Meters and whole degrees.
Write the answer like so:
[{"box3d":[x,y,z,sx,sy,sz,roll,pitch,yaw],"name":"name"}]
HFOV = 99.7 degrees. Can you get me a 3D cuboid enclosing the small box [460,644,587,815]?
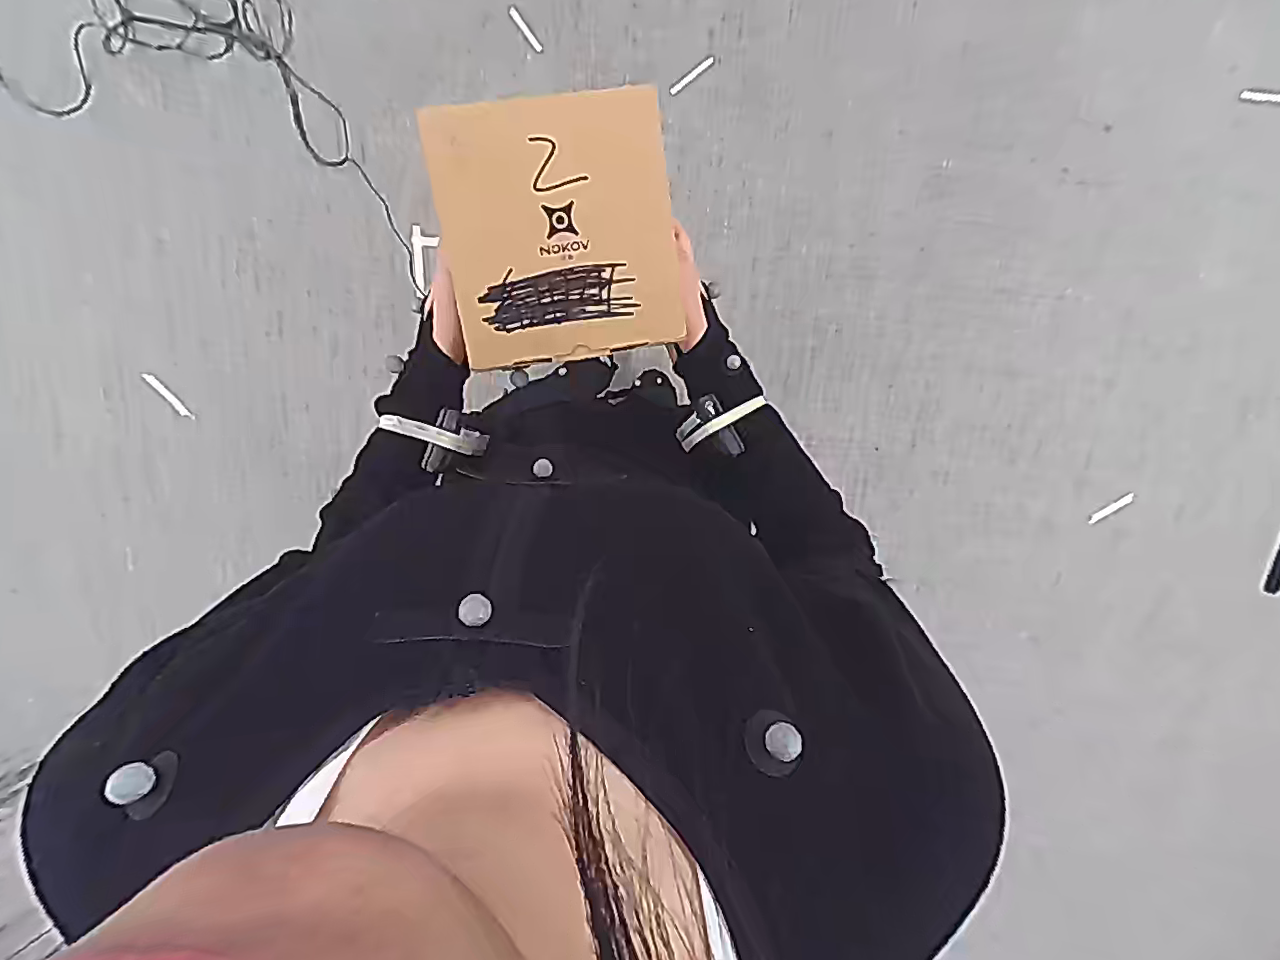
[{"box3d":[-0.171,0.378,0.839,0.168,0.176,0.179,3,103,-2],"name":"small box"}]
